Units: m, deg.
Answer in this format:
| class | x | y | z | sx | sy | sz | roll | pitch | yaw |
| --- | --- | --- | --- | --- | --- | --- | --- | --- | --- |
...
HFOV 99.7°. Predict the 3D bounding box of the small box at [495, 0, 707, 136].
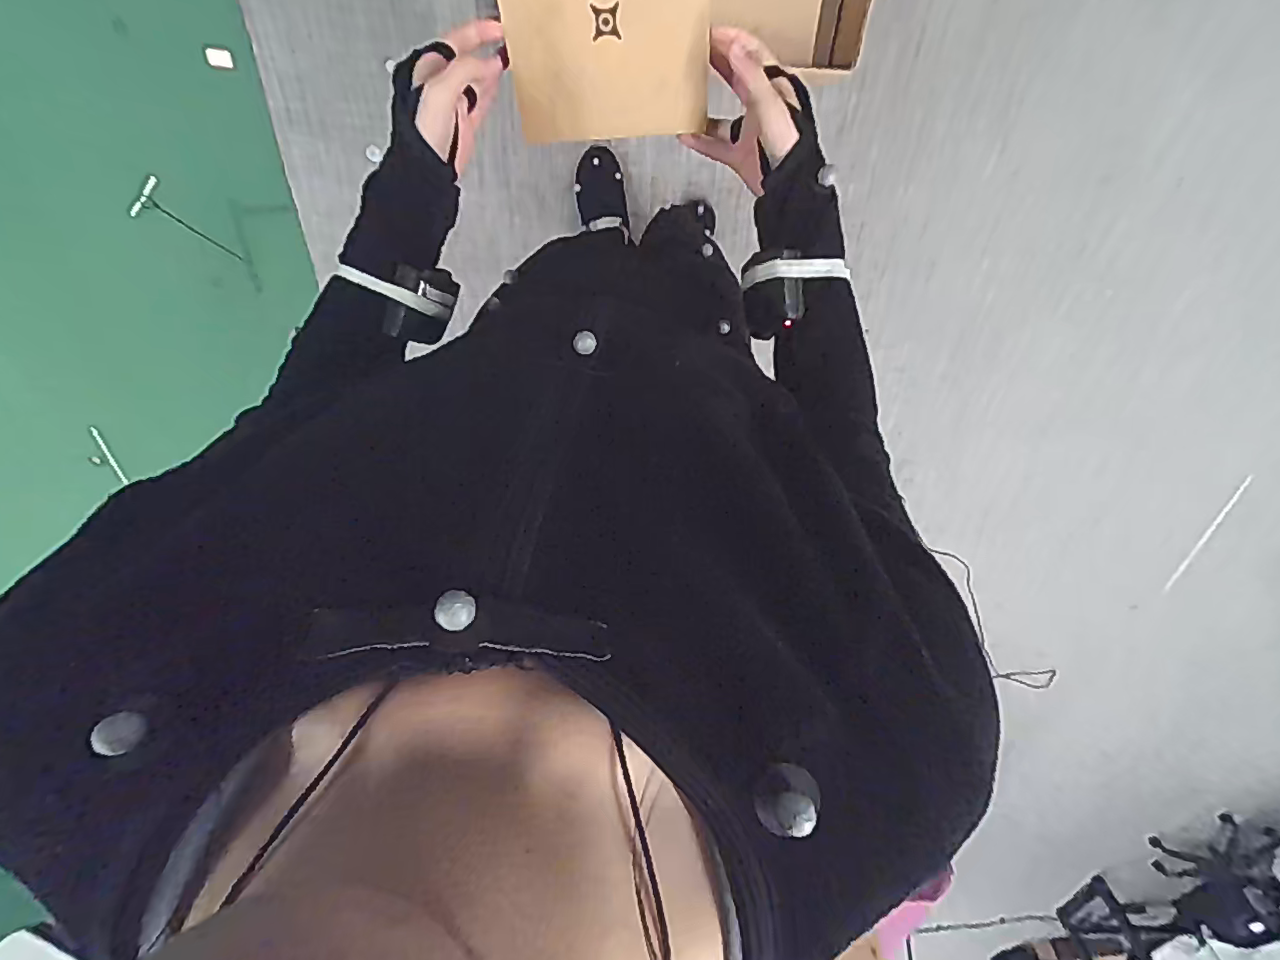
| class | x | y | z | sx | sy | sz | roll | pitch | yaw |
| --- | --- | --- | --- | --- | --- | --- | --- | --- | --- |
| small box | -0.028 | -0.426 | 0.465 | 0.168 | 0.176 | 0.179 | -2 | 140 | 2 |
